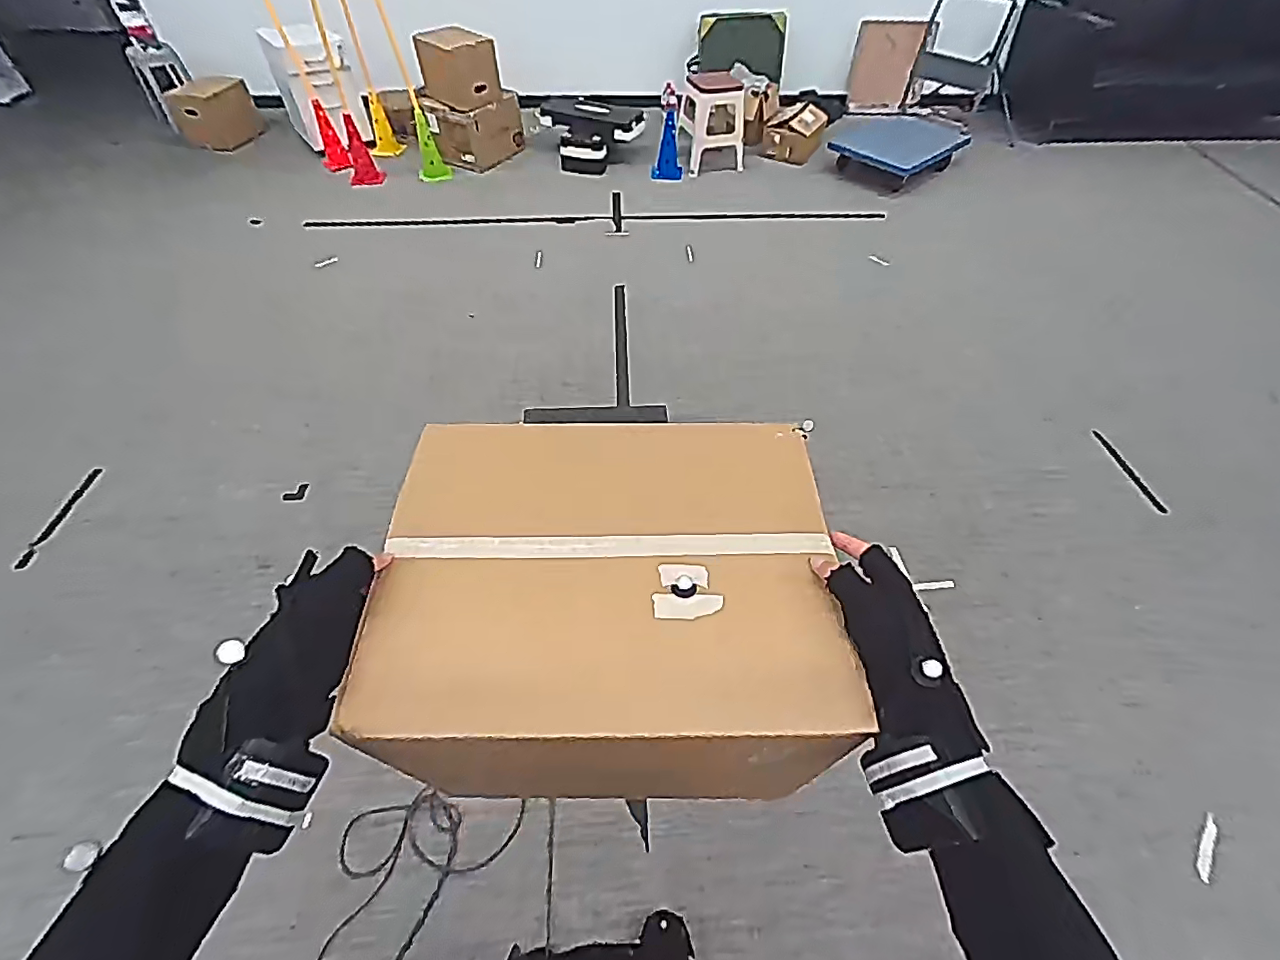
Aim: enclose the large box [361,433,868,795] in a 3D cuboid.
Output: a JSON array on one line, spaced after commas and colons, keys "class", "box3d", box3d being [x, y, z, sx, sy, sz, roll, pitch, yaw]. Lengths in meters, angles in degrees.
[{"class": "large box", "box3d": [-0.023, 0.160, 0.624, 0.408, 0.320, 0.320, 0, 53, 0]}]
